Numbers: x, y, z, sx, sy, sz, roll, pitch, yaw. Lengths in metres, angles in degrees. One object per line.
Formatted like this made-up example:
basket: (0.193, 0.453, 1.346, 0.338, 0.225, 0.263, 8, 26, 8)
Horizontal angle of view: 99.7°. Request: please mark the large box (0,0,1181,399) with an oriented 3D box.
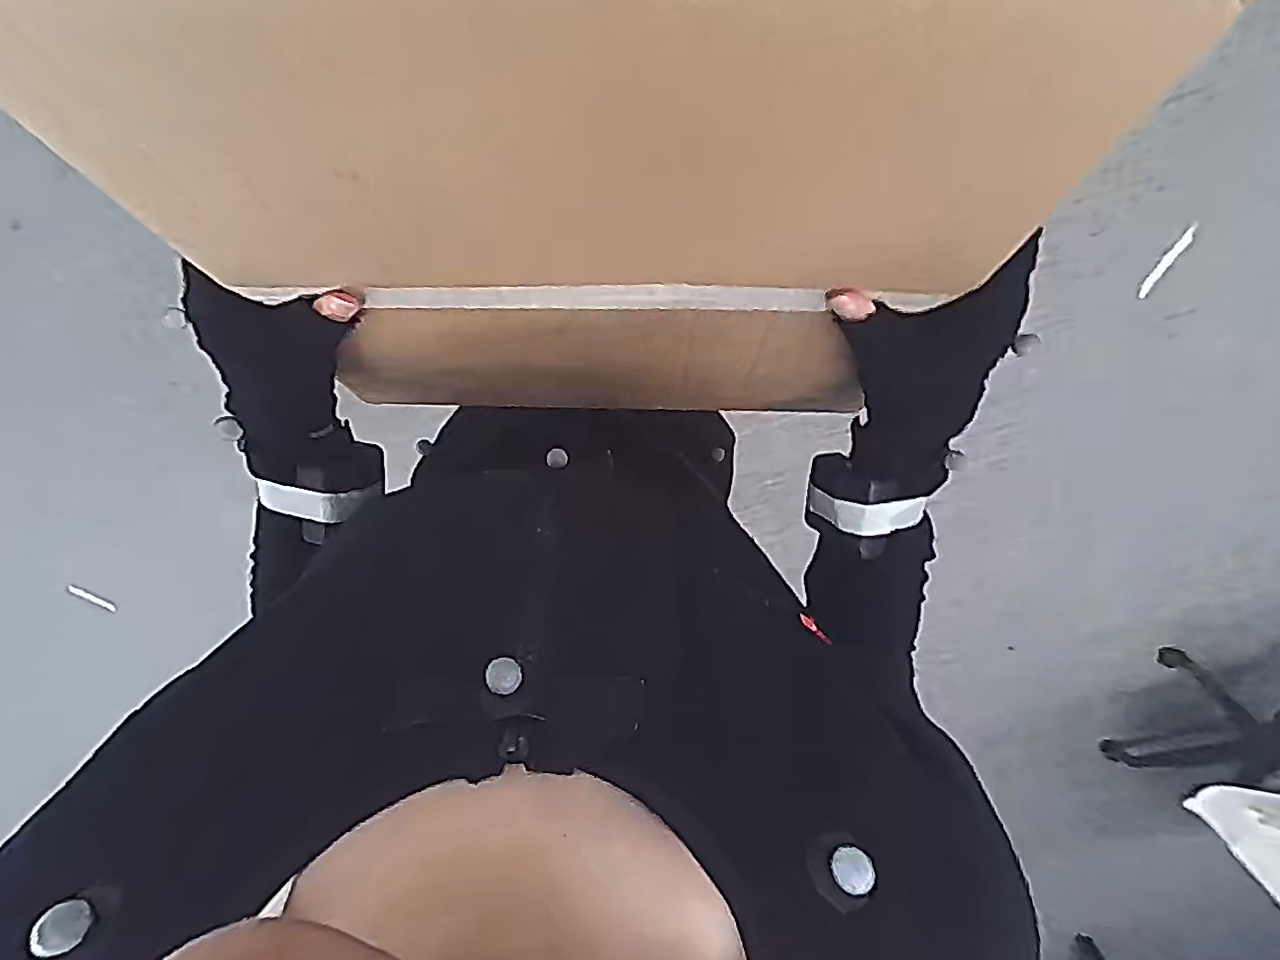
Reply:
large box: (-0.027, -0.254, 0.345, 0.408, 0.320, 0.320, 0, 75, 1)
